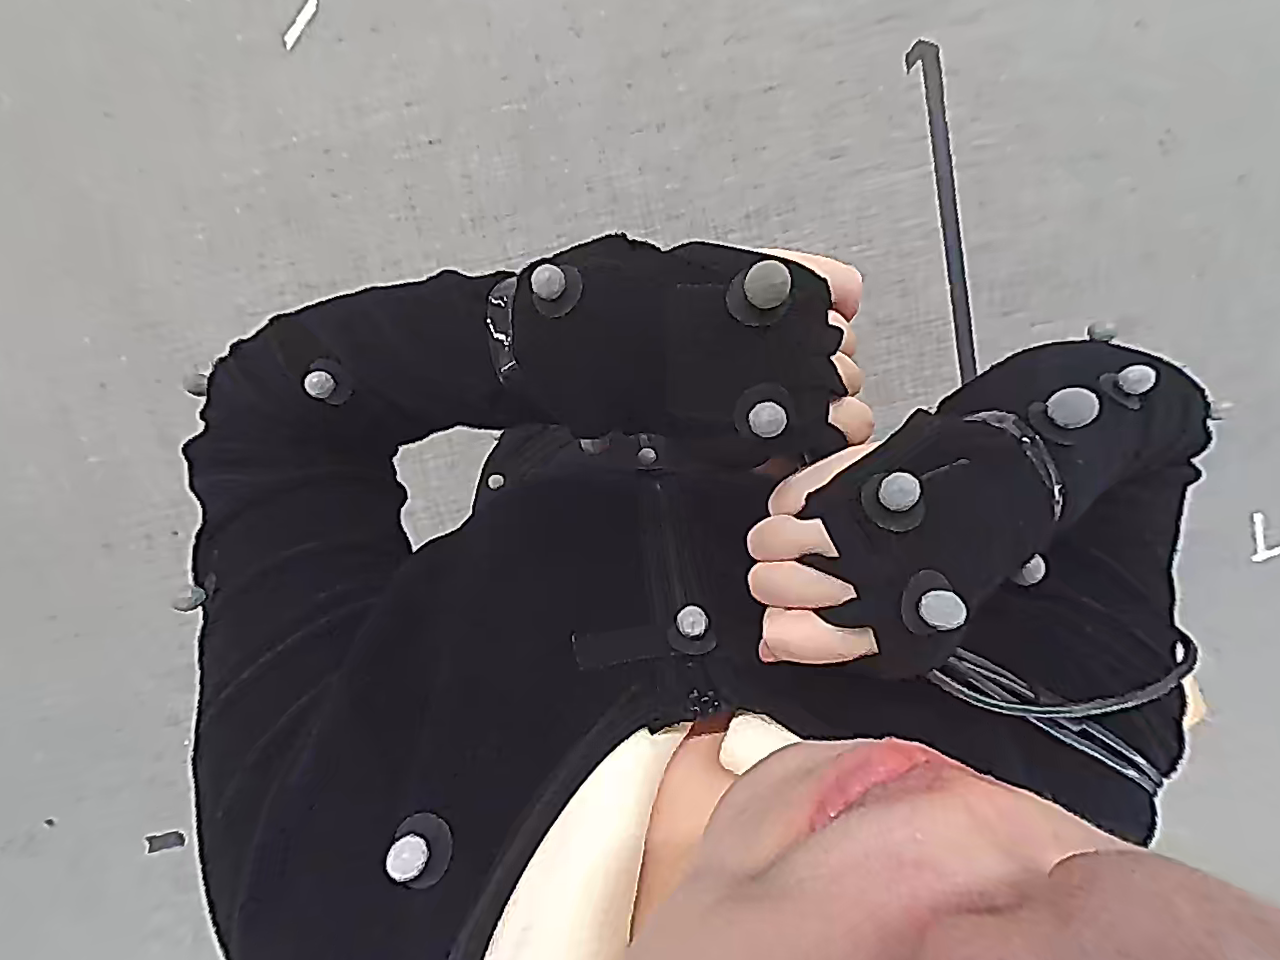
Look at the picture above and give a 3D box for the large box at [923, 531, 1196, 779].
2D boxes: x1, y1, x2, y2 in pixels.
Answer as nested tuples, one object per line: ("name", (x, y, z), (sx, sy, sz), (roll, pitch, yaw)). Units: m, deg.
("large box", (0.977, 0.394, 1.298), (0.320, 0.320, 0.408), (-32, 100, 0))
